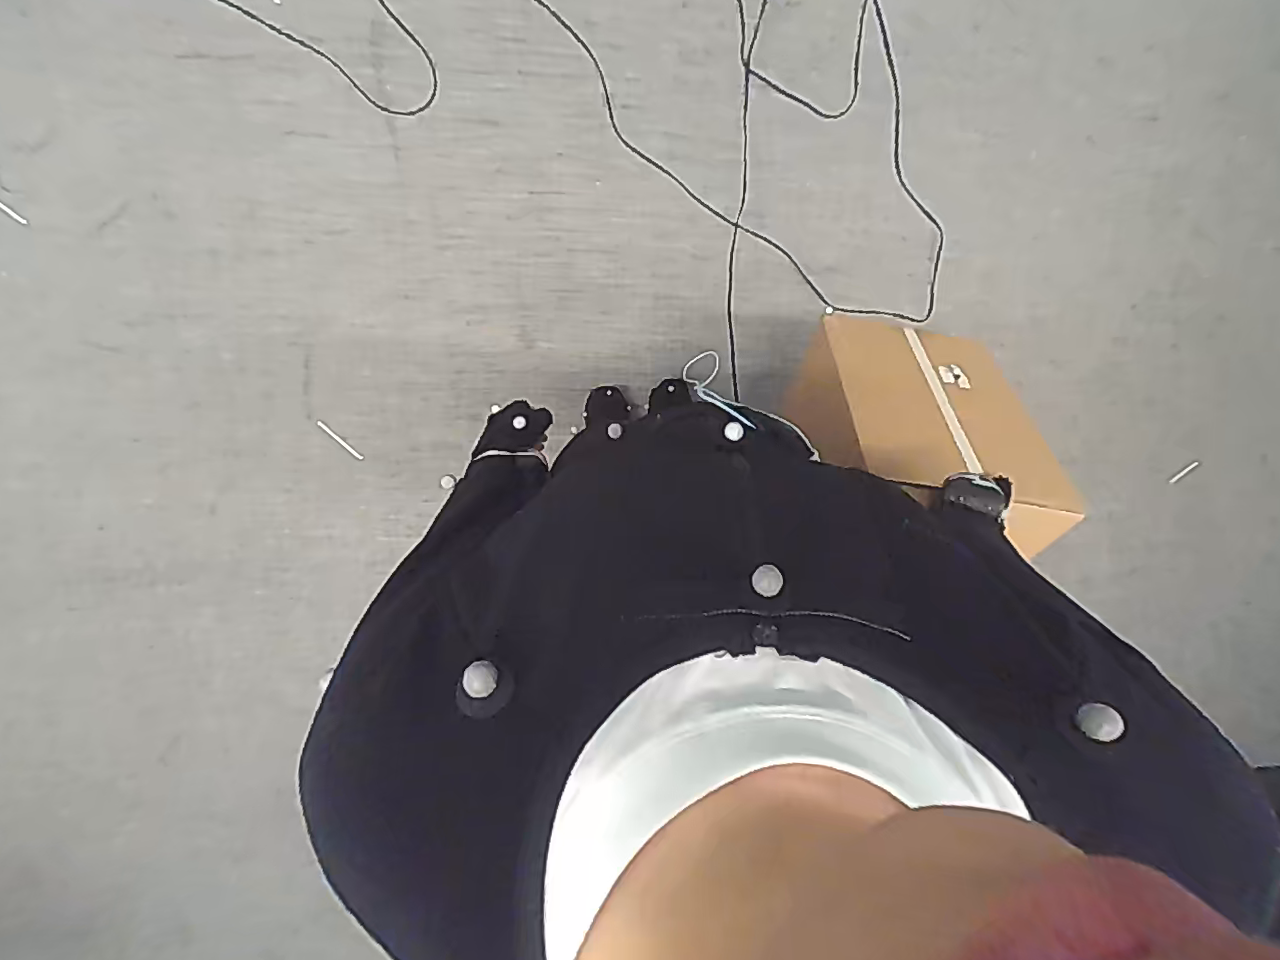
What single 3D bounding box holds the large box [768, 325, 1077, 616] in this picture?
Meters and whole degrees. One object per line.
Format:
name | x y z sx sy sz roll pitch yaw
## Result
large box | 0.441 -0.016 0.971 0.320 0.408 0.320 10 137 -5
